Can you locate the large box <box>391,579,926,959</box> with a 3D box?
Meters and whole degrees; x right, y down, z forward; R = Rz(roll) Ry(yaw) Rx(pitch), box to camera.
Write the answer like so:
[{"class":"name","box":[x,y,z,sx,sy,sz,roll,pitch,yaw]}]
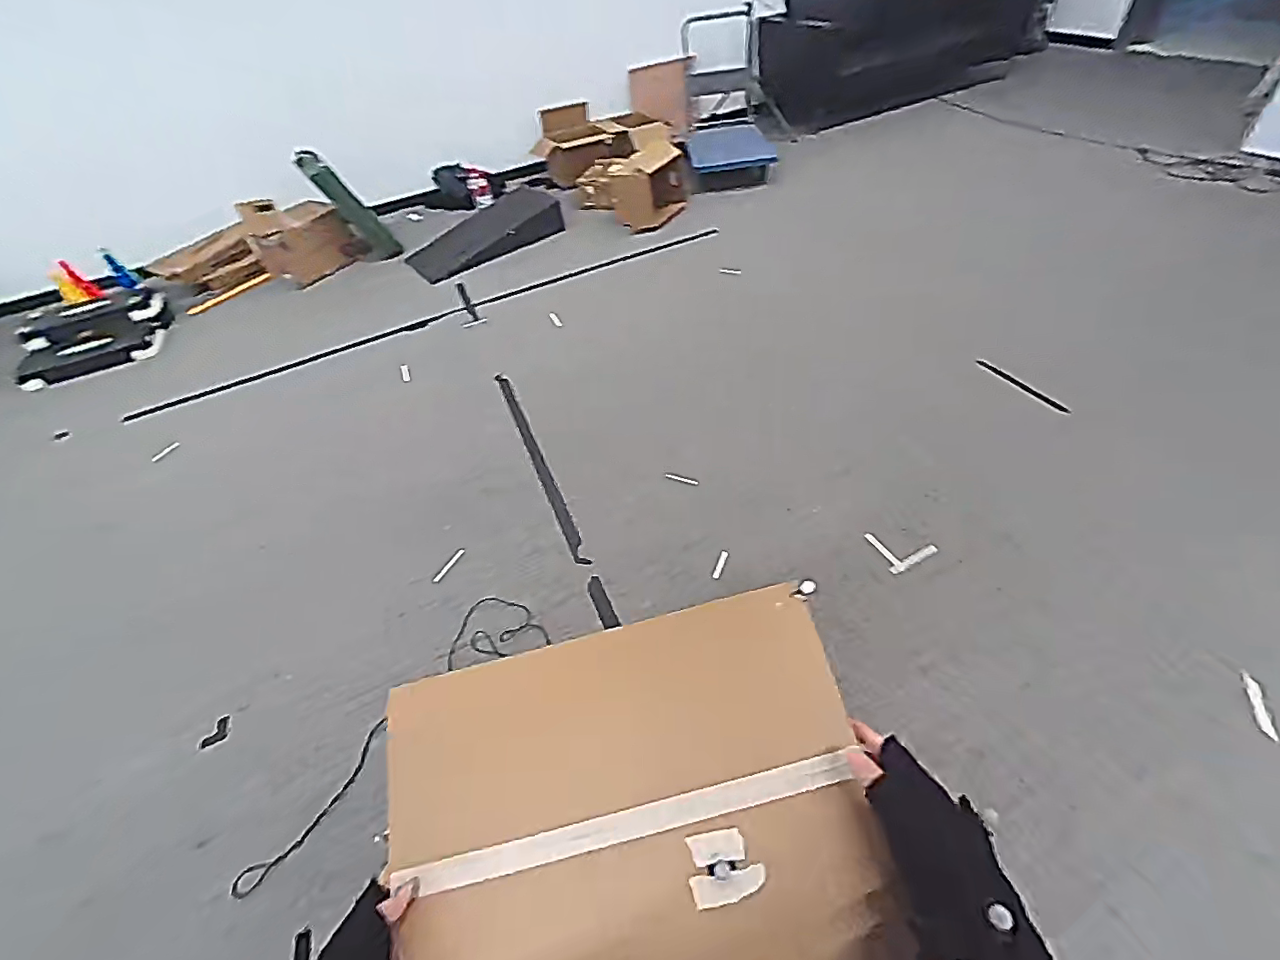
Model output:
[{"class":"large box","box":[0.000,0.350,0.592,0.408,0.320,0.320,-16,63,-2]}]
